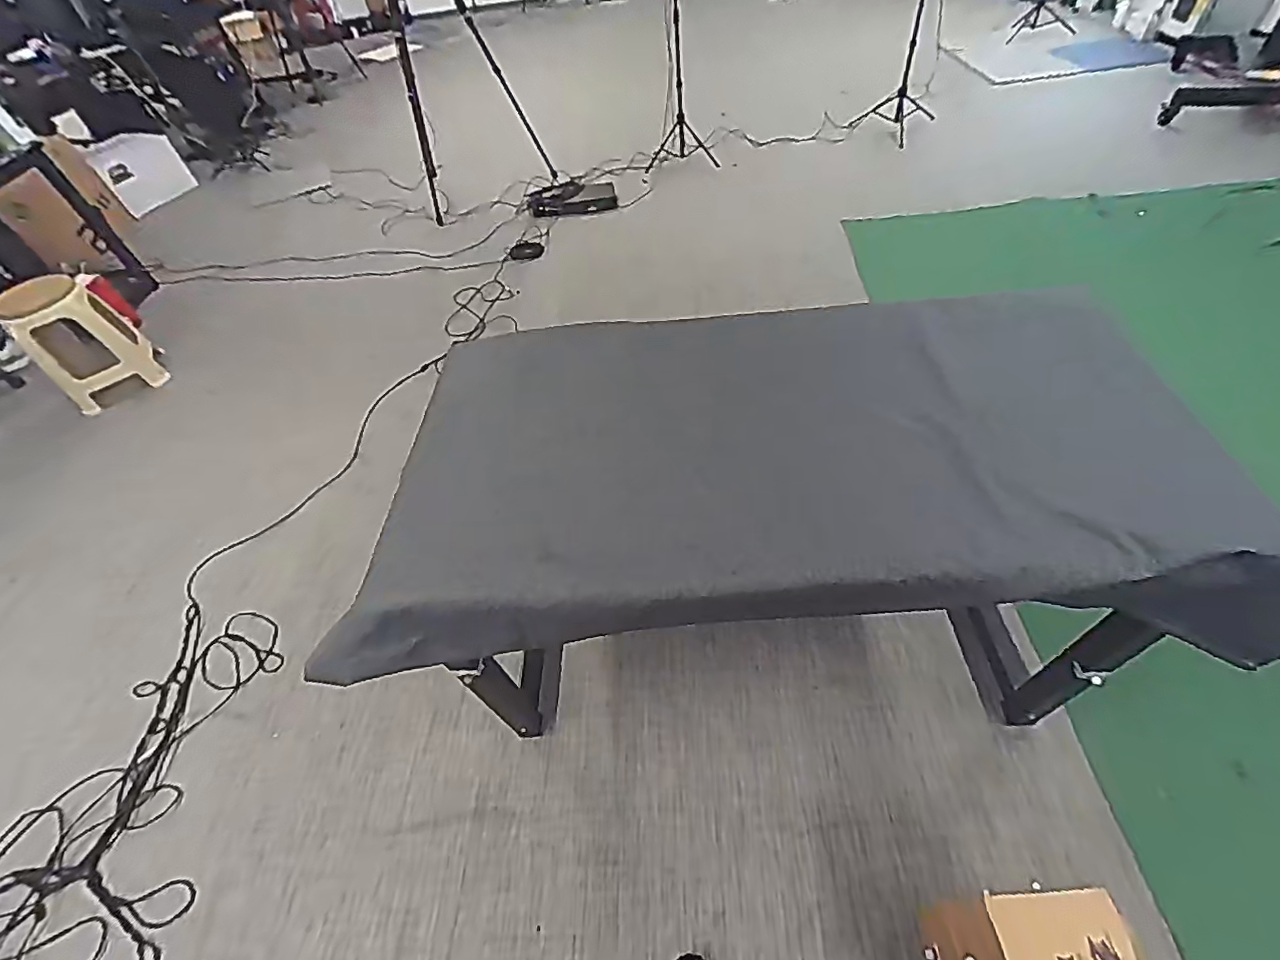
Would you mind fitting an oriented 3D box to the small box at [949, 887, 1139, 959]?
[{"bbox_3d":[0.594,0.704,0.789,0.179,0.176,0.168,-7,49,3],"label":"small box"}]

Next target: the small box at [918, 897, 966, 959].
[{"bbox_3d":[0.605,0.809,0.914,0.179,0.176,0.168,-6,50,4],"label":"small box"}]
